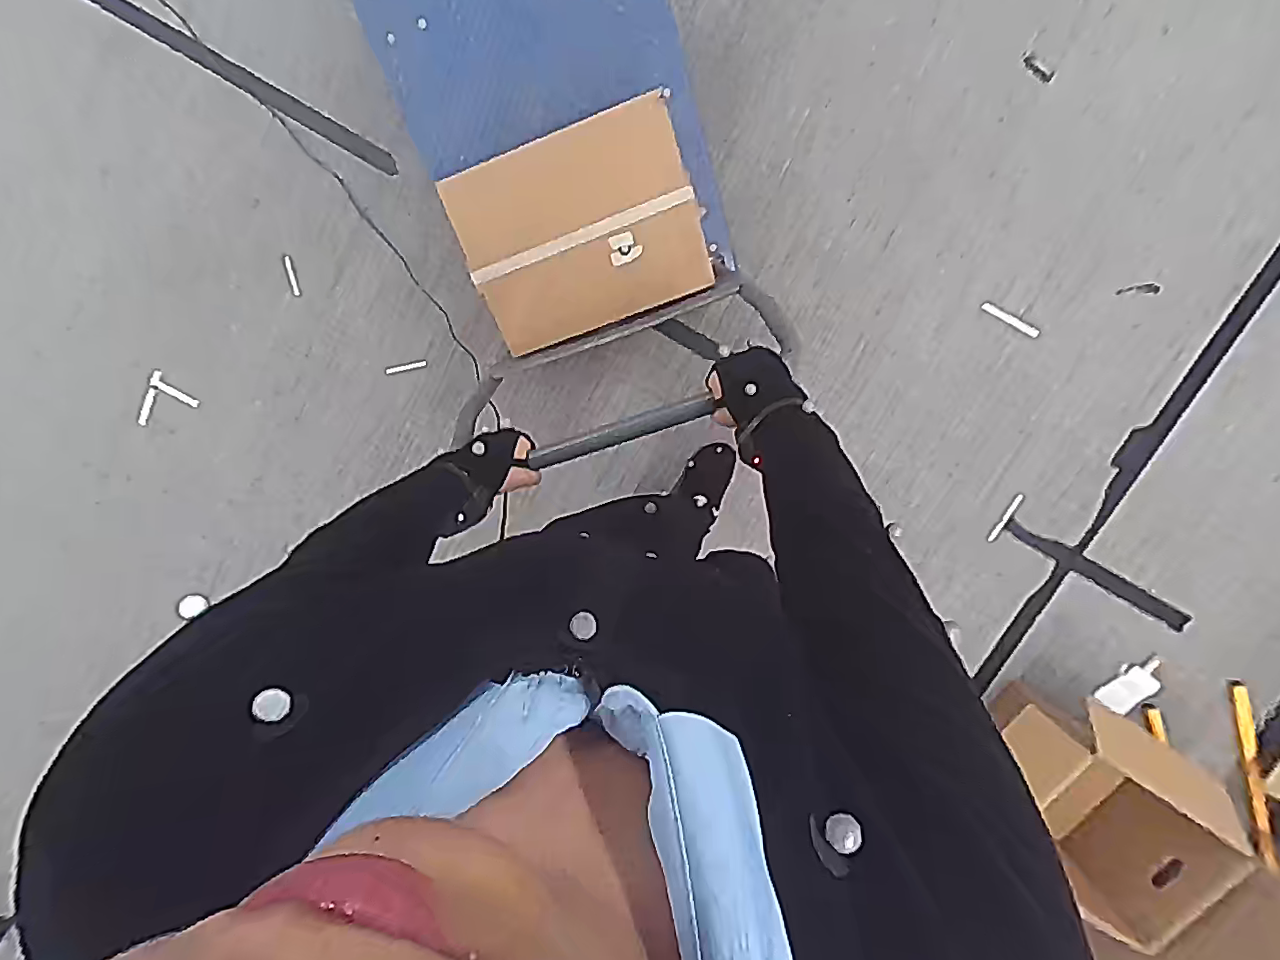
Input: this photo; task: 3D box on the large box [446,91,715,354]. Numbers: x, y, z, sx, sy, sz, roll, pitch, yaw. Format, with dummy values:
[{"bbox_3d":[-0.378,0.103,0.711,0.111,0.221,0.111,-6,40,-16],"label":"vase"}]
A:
[{"bbox_3d":[-0.102,-0.493,1.091,0.408,0.320,0.320,-19,114,7],"label":"large box"}]
